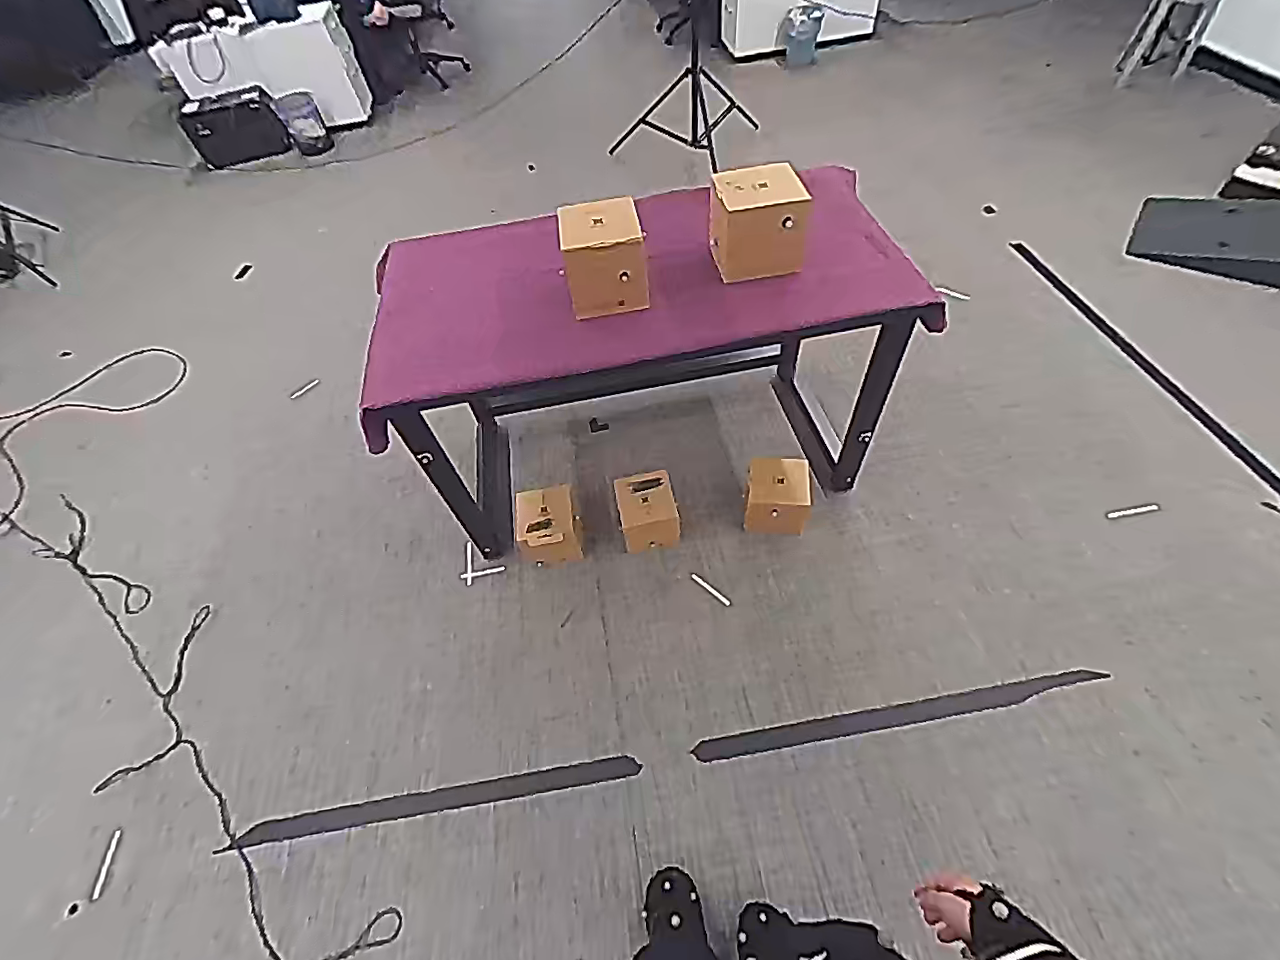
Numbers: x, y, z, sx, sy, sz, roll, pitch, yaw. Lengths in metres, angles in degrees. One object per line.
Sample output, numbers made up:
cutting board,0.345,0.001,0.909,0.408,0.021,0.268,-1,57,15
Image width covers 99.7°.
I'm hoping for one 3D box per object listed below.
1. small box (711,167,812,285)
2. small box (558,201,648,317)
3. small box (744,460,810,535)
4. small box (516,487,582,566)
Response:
small box,0.259,-0.559,1.198,0.179,0.176,0.168,-10,53,0
small box,-0.078,-0.472,1.174,0.168,0.176,0.179,-9,52,-2
small box,0.412,0.056,1.644,0.179,0.176,0.168,2,55,9
small box,-0.274,0.148,1.650,0.168,0.176,0.179,-10,53,-1
